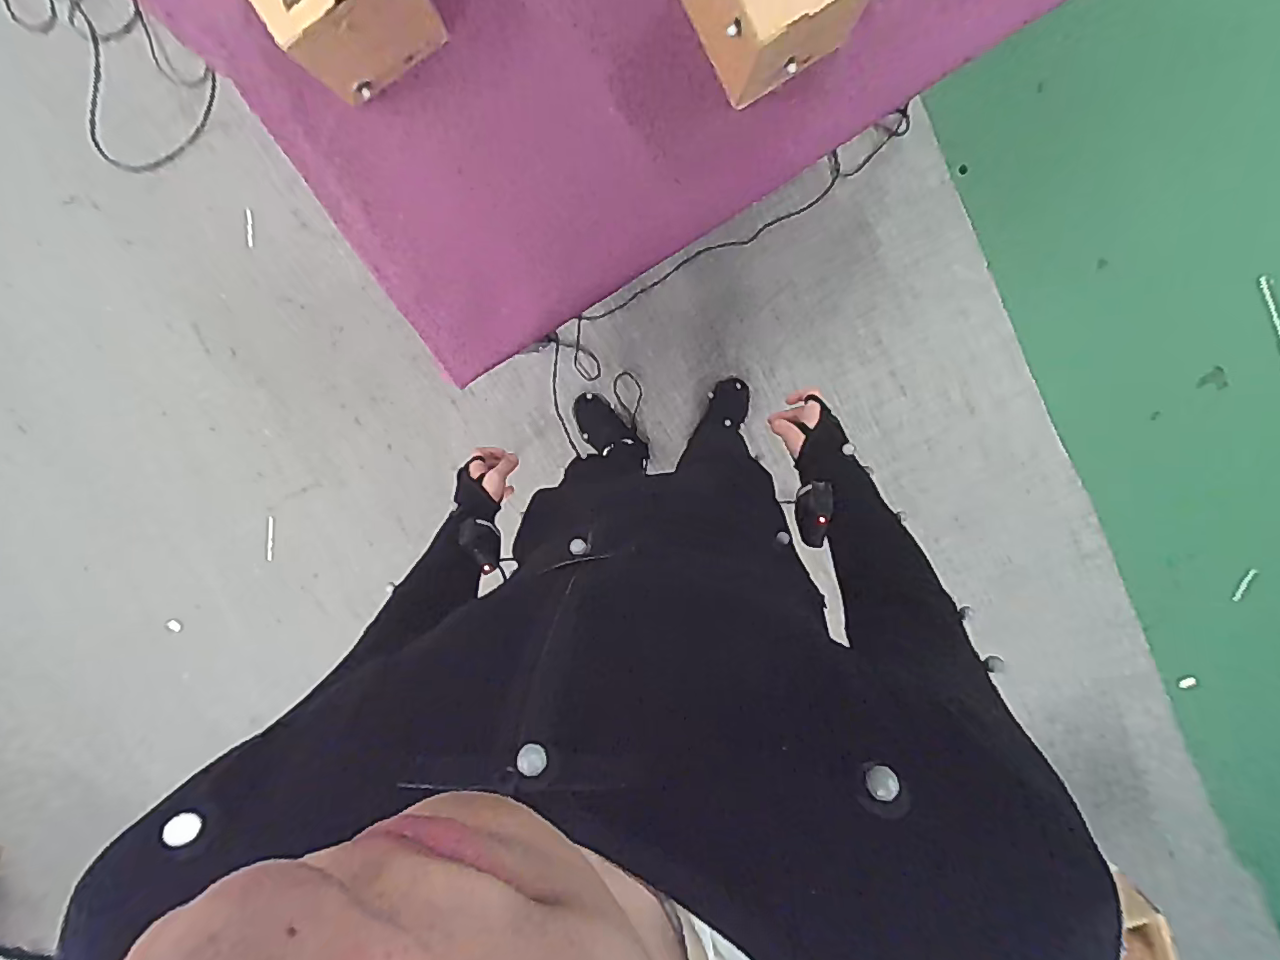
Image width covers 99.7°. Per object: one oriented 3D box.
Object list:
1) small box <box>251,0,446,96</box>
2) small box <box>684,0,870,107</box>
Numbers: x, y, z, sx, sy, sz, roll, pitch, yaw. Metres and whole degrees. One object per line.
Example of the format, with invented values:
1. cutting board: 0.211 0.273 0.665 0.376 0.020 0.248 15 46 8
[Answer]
1. small box: -0.362 -0.599 0.639 0.168 0.176 0.179 -31 103 6
2. small box: 0.161 -0.605 0.649 0.168 0.176 0.179 -30 102 6
